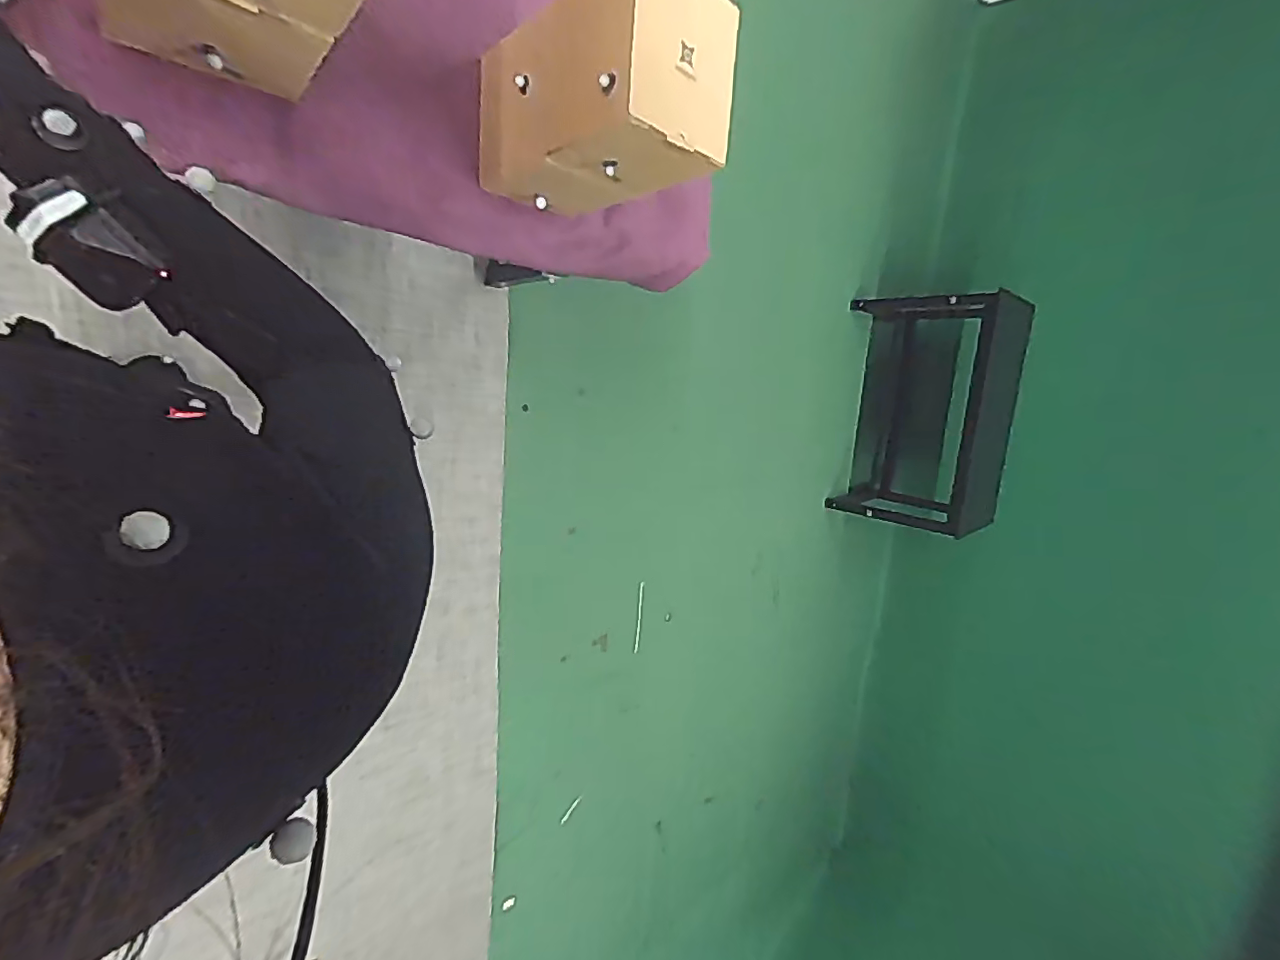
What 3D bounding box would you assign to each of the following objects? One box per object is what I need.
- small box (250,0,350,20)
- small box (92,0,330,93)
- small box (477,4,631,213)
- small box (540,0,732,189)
[{"bbox_3d":[-0.290,-0.479,0.382,0.179,0.176,0.168,-9,104,-43],"label":"small box"},{"bbox_3d":[-0.403,-0.508,0.499,0.168,0.176,0.179,-7,104,-42],"label":"small box"},{"bbox_3d":[-0.121,-0.508,0.775,0.168,0.176,0.179,-5,104,-43],"label":"small box"},{"bbox_3d":[-0.009,-0.485,0.661,0.168,0.176,0.179,-6,104,-43],"label":"small box"}]
